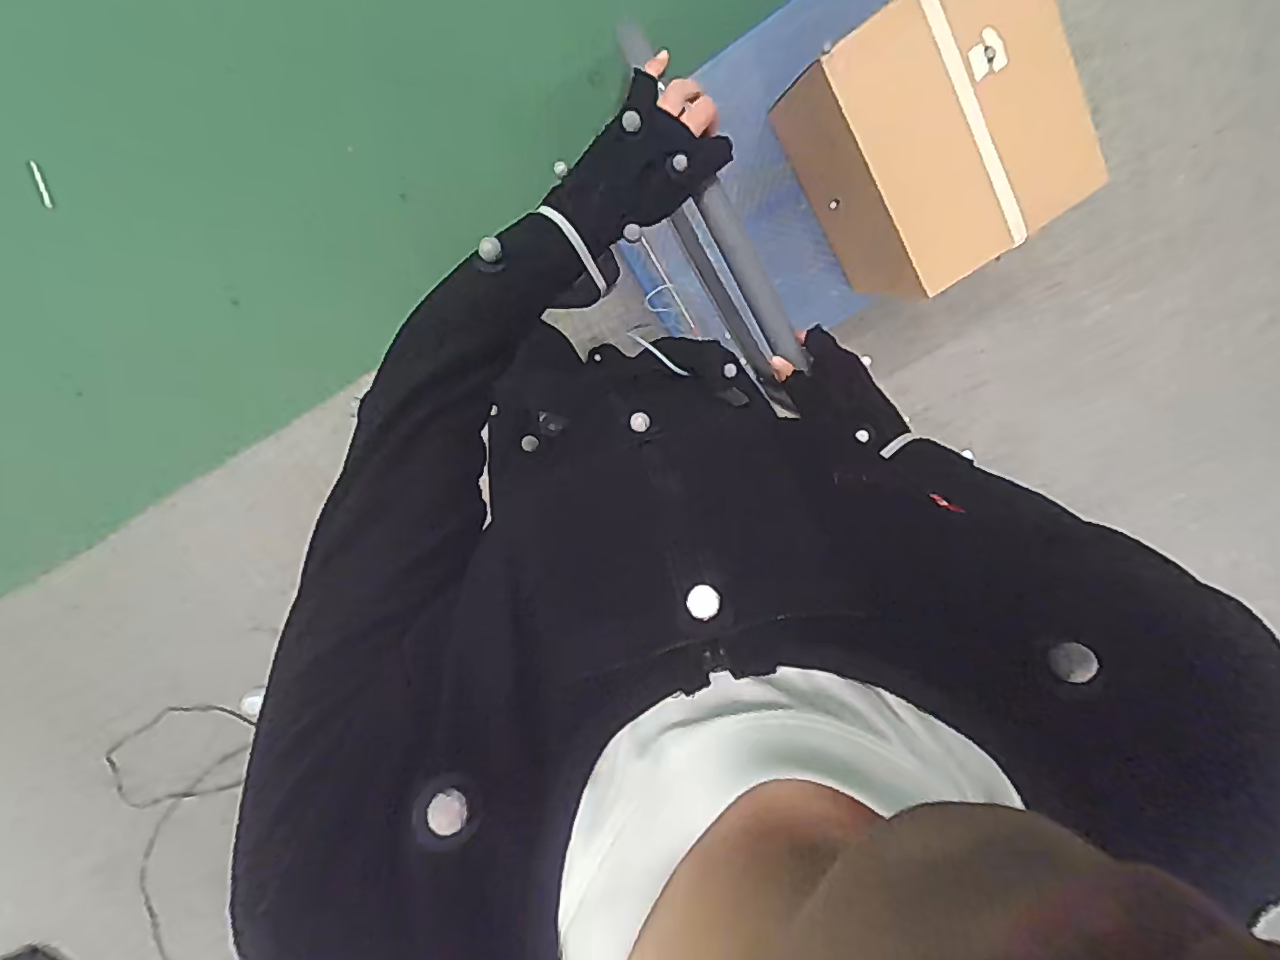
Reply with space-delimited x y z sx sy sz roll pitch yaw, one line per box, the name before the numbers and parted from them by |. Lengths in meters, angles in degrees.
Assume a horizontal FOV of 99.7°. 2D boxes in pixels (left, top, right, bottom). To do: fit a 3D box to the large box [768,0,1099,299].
large box | 0.482 -0.581 0.955 0.320 0.320 0.408 -32 107 10
